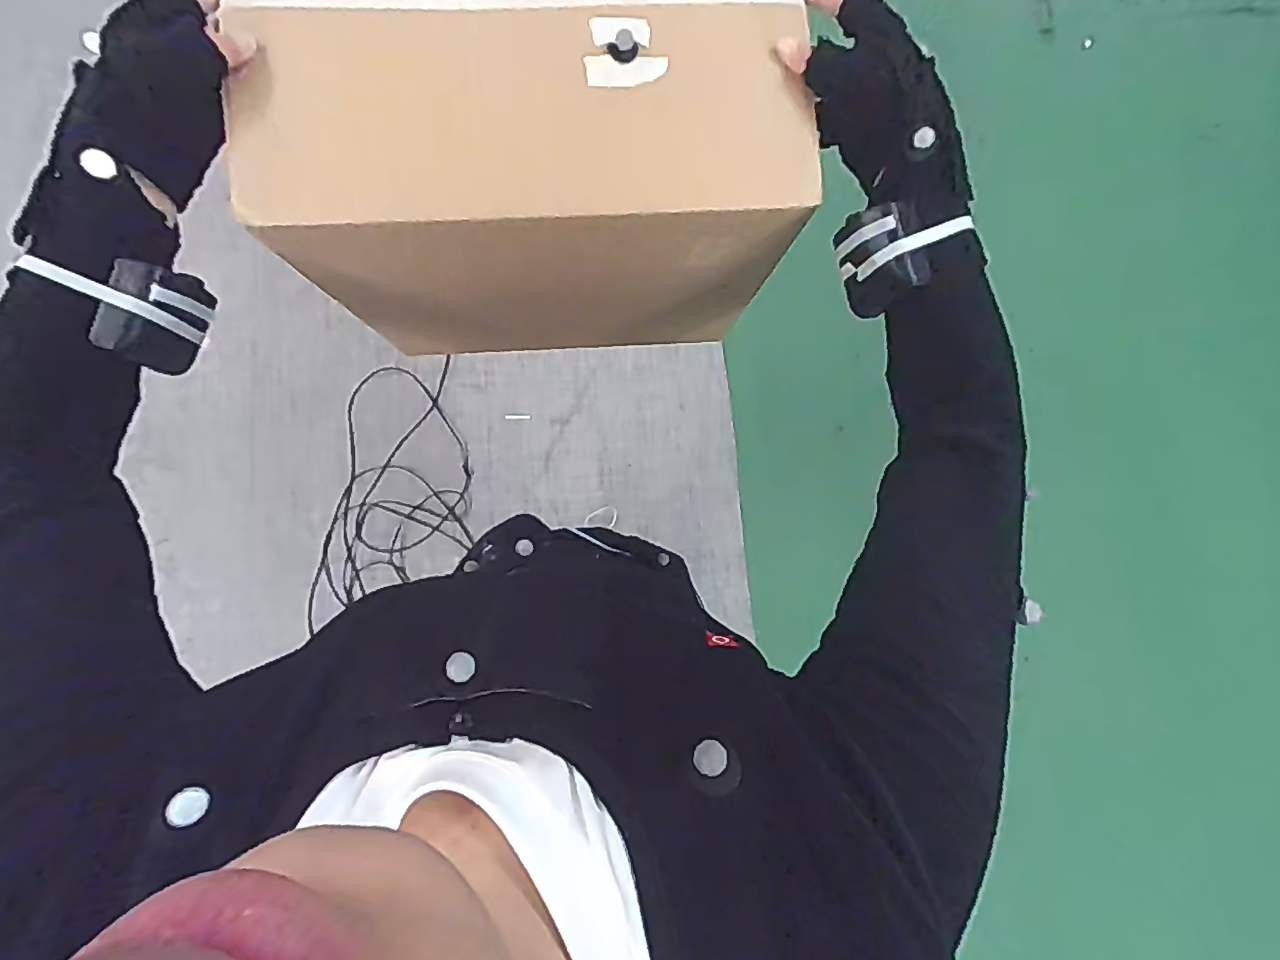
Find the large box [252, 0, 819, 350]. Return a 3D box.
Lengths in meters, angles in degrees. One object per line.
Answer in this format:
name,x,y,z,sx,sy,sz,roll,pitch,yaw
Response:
large box,-0.088,-0.333,0.543,0.408,0.320,0.320,-4,87,-6
